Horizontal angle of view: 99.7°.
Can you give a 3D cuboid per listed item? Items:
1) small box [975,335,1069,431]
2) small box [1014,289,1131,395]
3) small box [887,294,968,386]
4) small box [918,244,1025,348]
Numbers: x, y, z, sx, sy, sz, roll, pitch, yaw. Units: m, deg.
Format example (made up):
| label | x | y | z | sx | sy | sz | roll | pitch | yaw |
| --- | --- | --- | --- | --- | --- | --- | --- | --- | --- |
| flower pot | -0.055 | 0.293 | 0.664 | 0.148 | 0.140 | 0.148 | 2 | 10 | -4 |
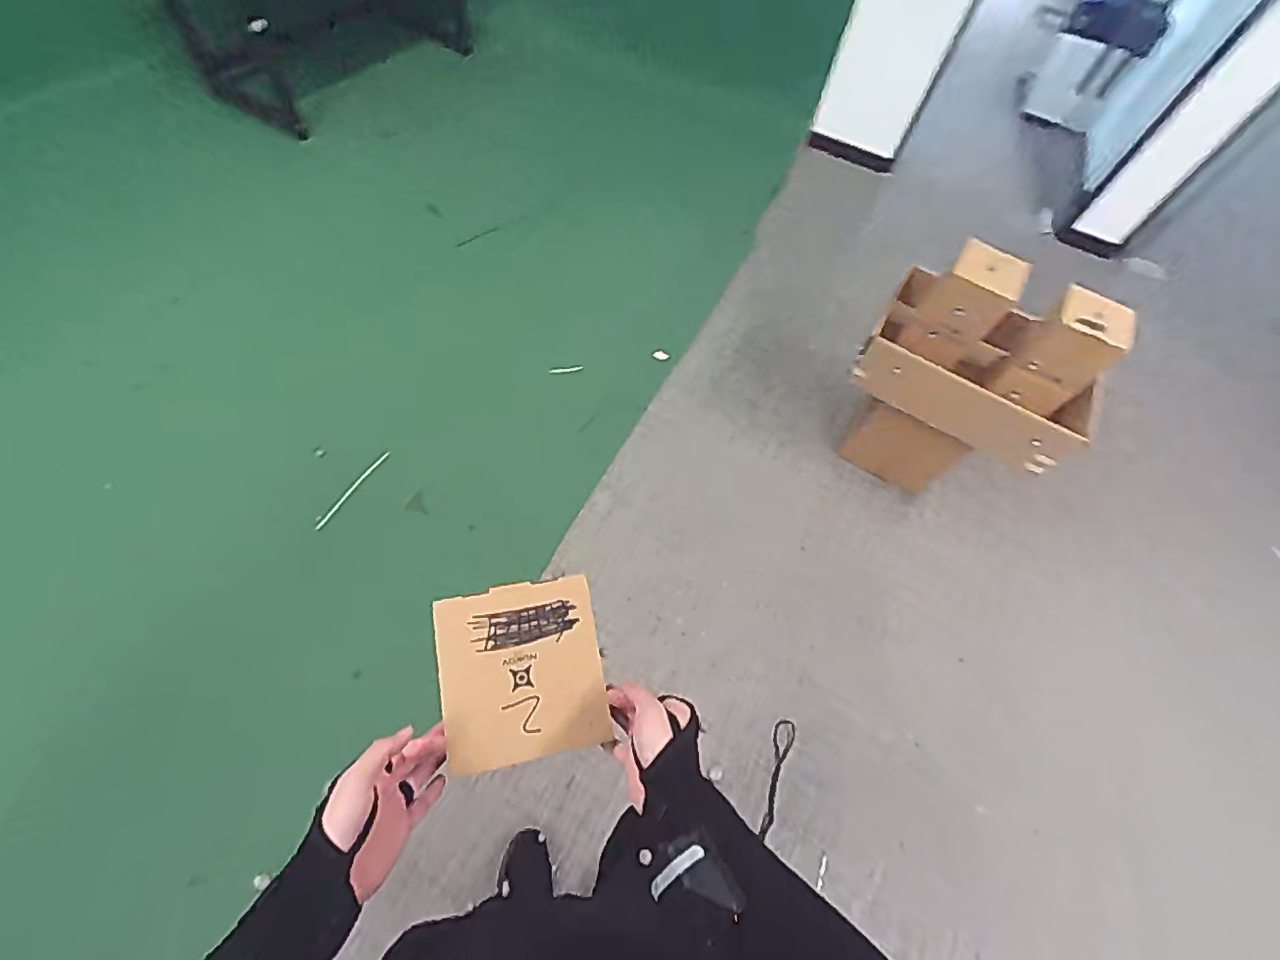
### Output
| label | x | y | z | sx | sy | sz | roll | pitch | yaw |
| --- | --- | --- | --- | --- | --- | --- | --- | --- | --- |
| small box | 1.100 | -0.272 | 1.552 | 0.168 | 0.176 | 0.179 | 30 | 61 | 11 |
| small box | 1.120 | -0.354 | 1.410 | 0.168 | 0.176 | 0.179 | 30 | 60 | 10 |
| small box | 0.866 | -0.415 | 1.601 | 0.168 | 0.176 | 0.179 | 32 | 61 | 12 |
| small box | 0.883 | -0.489 | 1.455 | 0.168 | 0.176 | 0.179 | 32 | 62 | 10 |
